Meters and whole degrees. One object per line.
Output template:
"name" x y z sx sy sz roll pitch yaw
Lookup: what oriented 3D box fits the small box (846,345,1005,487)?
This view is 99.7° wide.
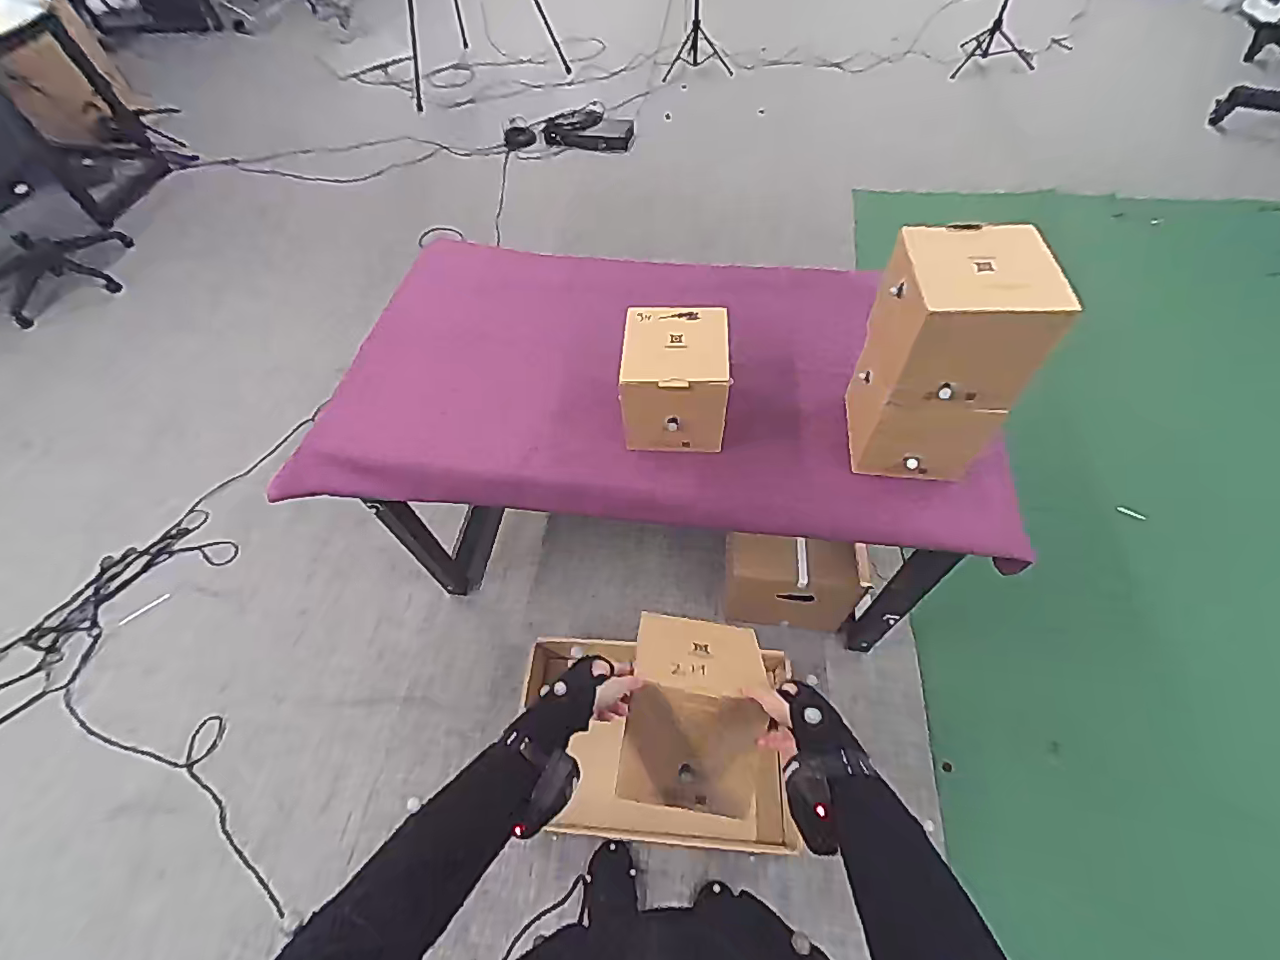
"small box" 0.435 -0.112 0.859 0.168 0.176 0.179 5 55 8

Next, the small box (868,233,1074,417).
"small box" 0.421 -0.207 0.728 0.168 0.176 0.179 2 55 7

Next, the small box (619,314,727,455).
"small box" 0.060 -0.158 0.915 0.168 0.176 0.179 2 55 4

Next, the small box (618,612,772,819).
"small box" 0.066 0.301 0.719 0.168 0.176 0.179 8 12 2
